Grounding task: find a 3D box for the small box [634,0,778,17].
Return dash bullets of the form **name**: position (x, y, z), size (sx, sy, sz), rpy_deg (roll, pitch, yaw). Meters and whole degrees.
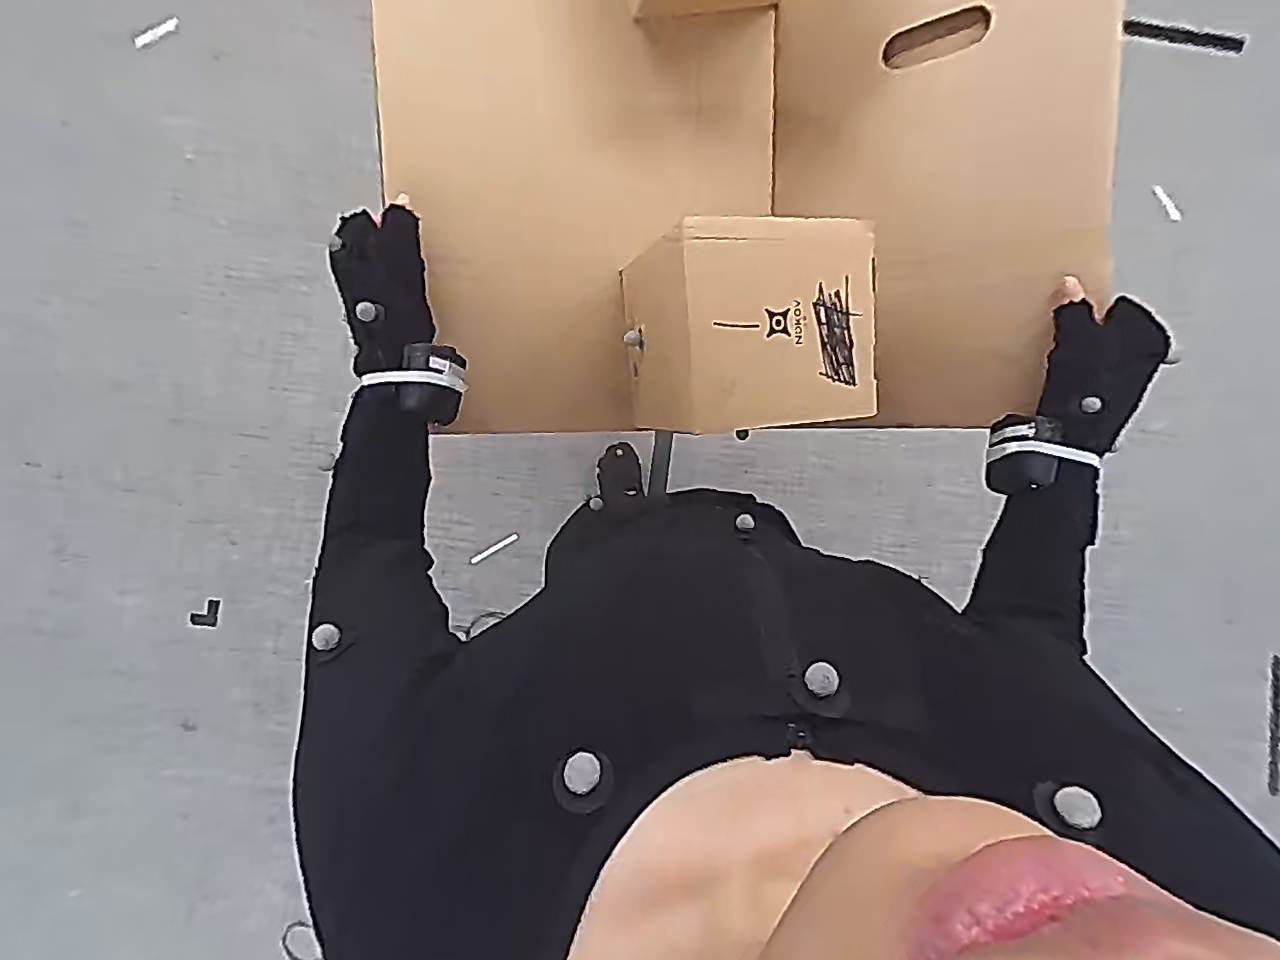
- **small box**: position (0.078, -0.547, 0.467), size (0.179, 0.176, 0.168), rpy_deg (-18, 102, -16)
